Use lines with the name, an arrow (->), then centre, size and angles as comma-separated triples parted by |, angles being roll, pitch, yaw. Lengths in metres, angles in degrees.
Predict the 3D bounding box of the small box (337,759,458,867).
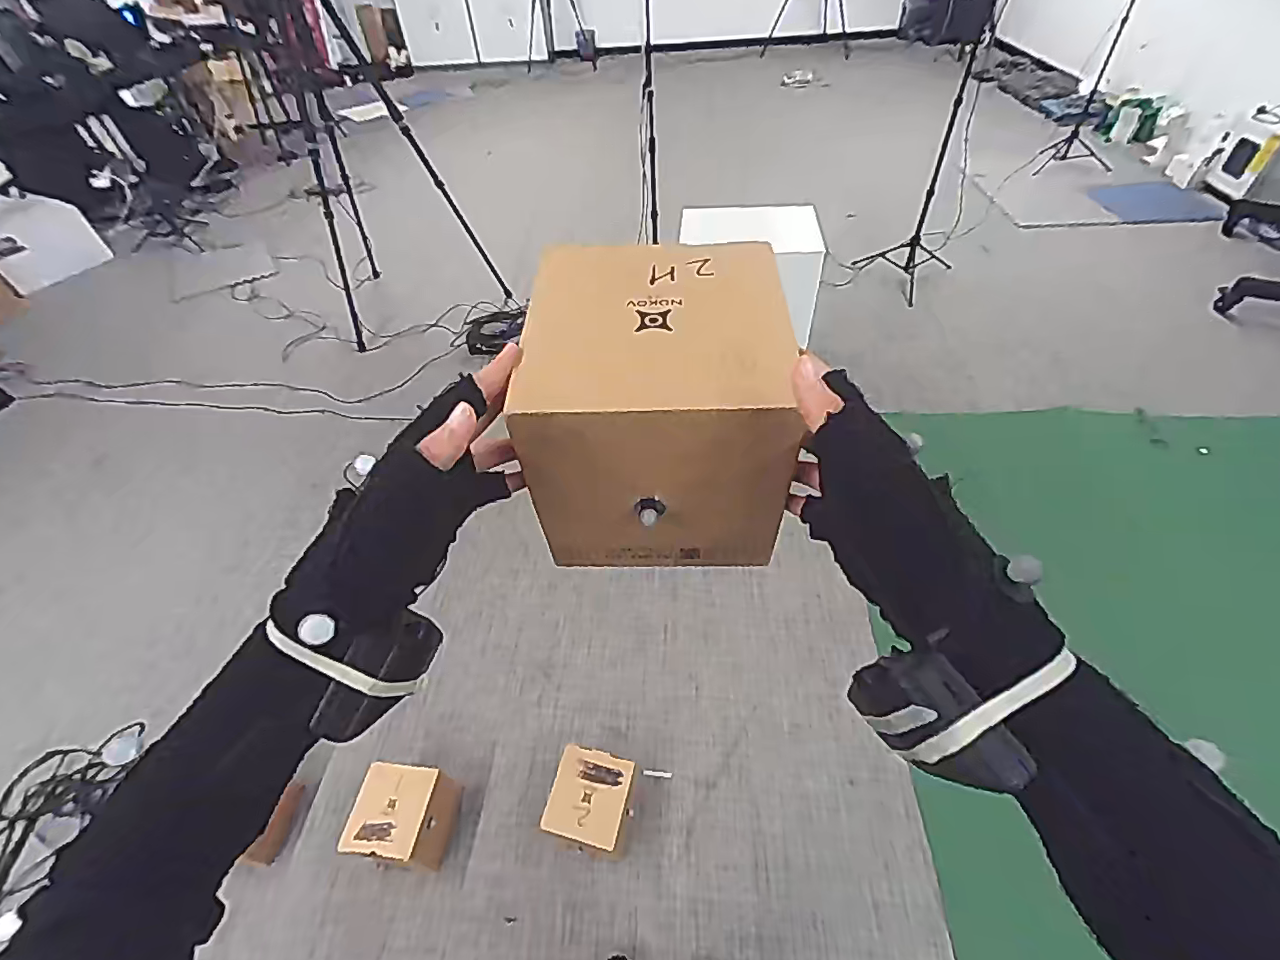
small box -> -0.540, 0.764, 1.236 | 0.168, 0.176, 0.179 | 3, 48, 7

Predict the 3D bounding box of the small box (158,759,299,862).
small box -> -0.942, 0.773, 1.263 | 0.168, 0.176, 0.179 | -1, 48, 4
